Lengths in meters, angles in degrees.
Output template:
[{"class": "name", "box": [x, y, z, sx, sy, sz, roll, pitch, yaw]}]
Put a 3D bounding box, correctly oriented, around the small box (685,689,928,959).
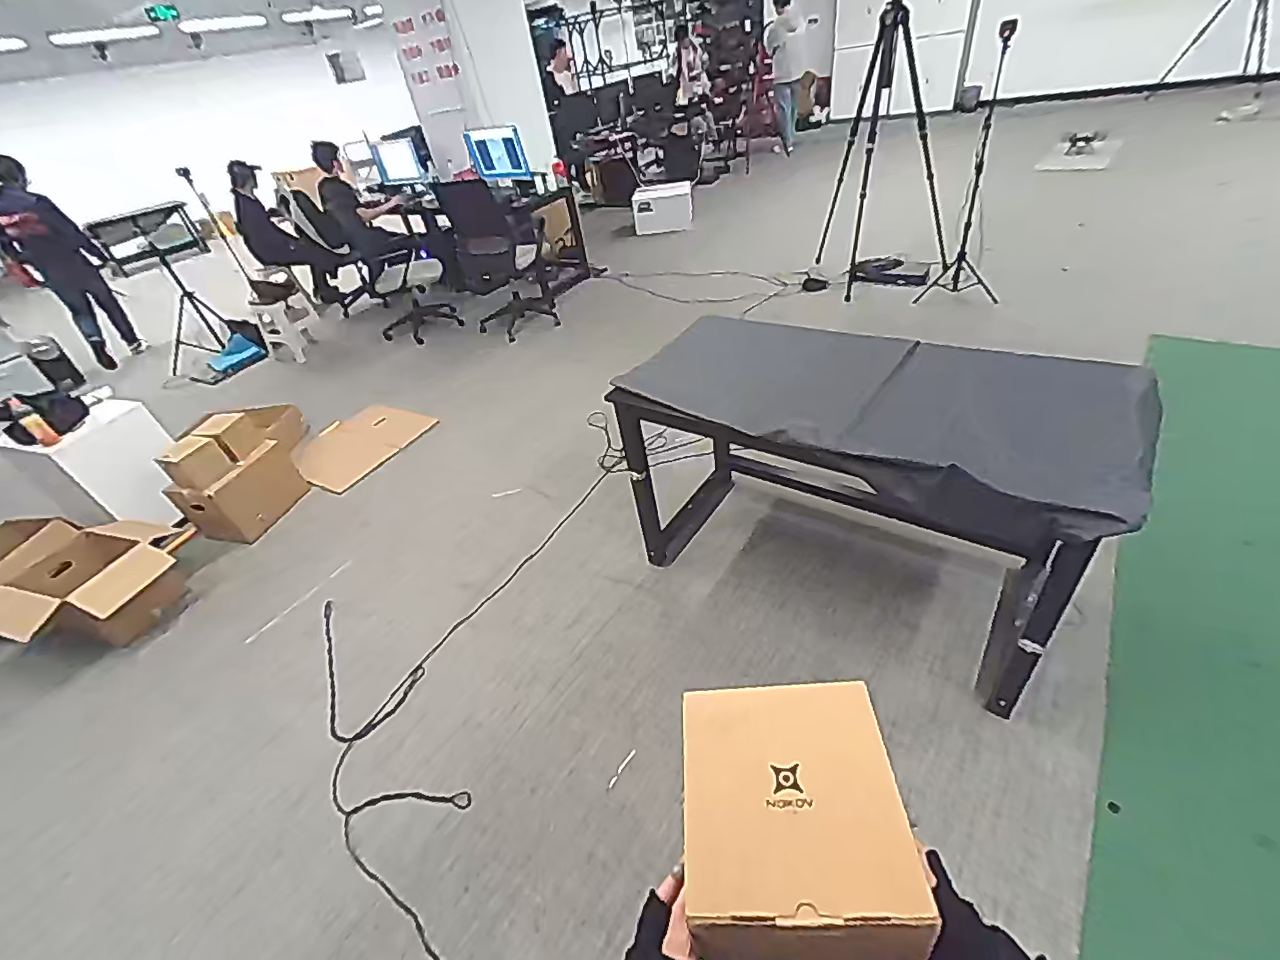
[{"class": "small box", "box": [0.131, 0.314, 0.483, 0.168, 0.176, 0.179, -7, 36, 9]}]
